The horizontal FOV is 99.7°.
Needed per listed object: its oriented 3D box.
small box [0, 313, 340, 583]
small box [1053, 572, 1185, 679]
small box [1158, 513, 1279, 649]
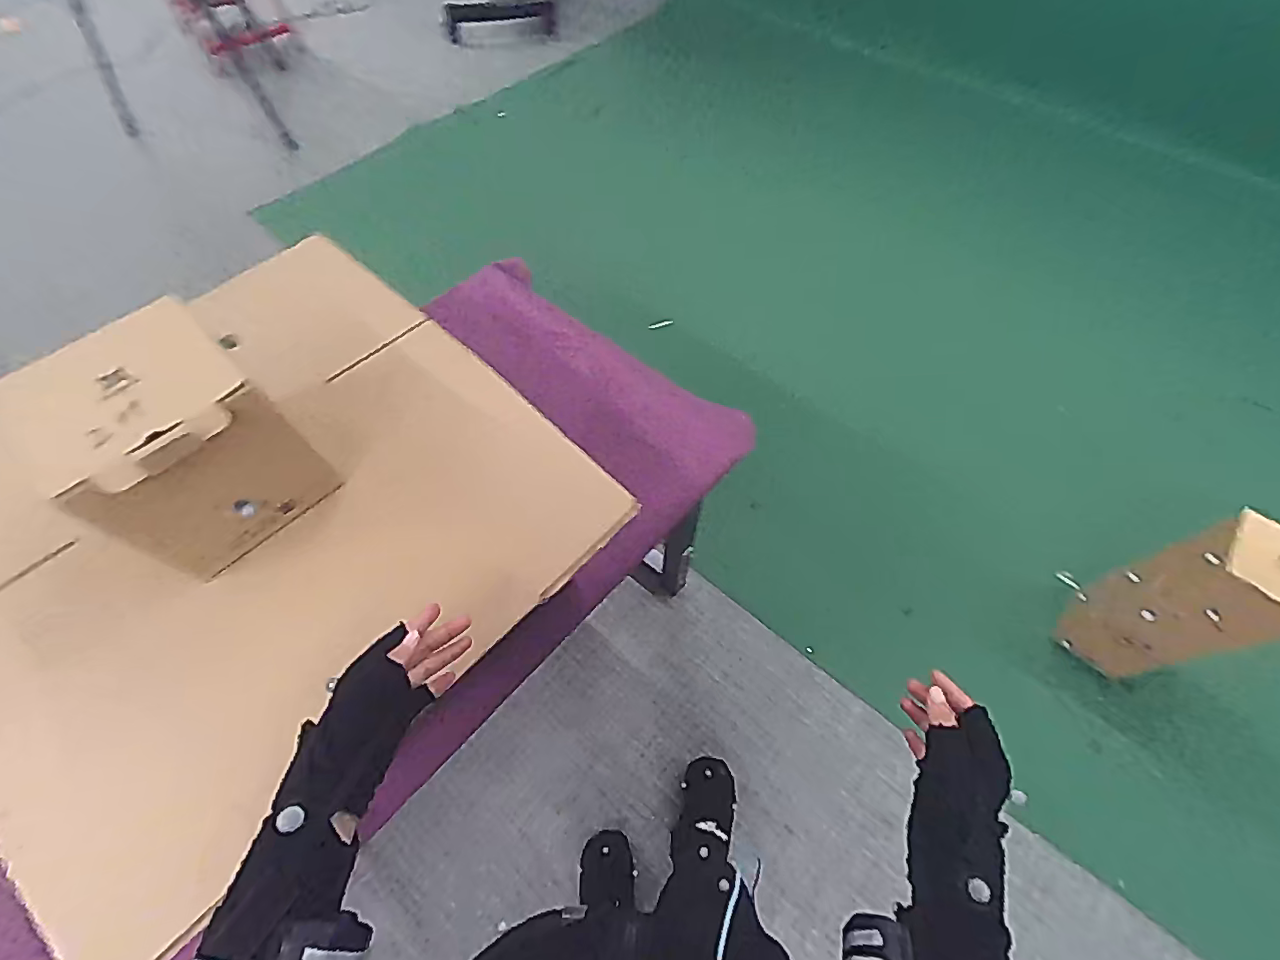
[{"bbox_3d":[-0.451,-0.026,0.546,0.179,0.176,0.168,38,67,22],"label":"small box"},{"bbox_3d":[1.192,0.371,1.357,0.168,0.176,0.179,38,66,20],"label":"small box"},{"bbox_3d":[1.197,0.205,1.075,0.168,0.176,0.179,36,65,19],"label":"small box"}]
